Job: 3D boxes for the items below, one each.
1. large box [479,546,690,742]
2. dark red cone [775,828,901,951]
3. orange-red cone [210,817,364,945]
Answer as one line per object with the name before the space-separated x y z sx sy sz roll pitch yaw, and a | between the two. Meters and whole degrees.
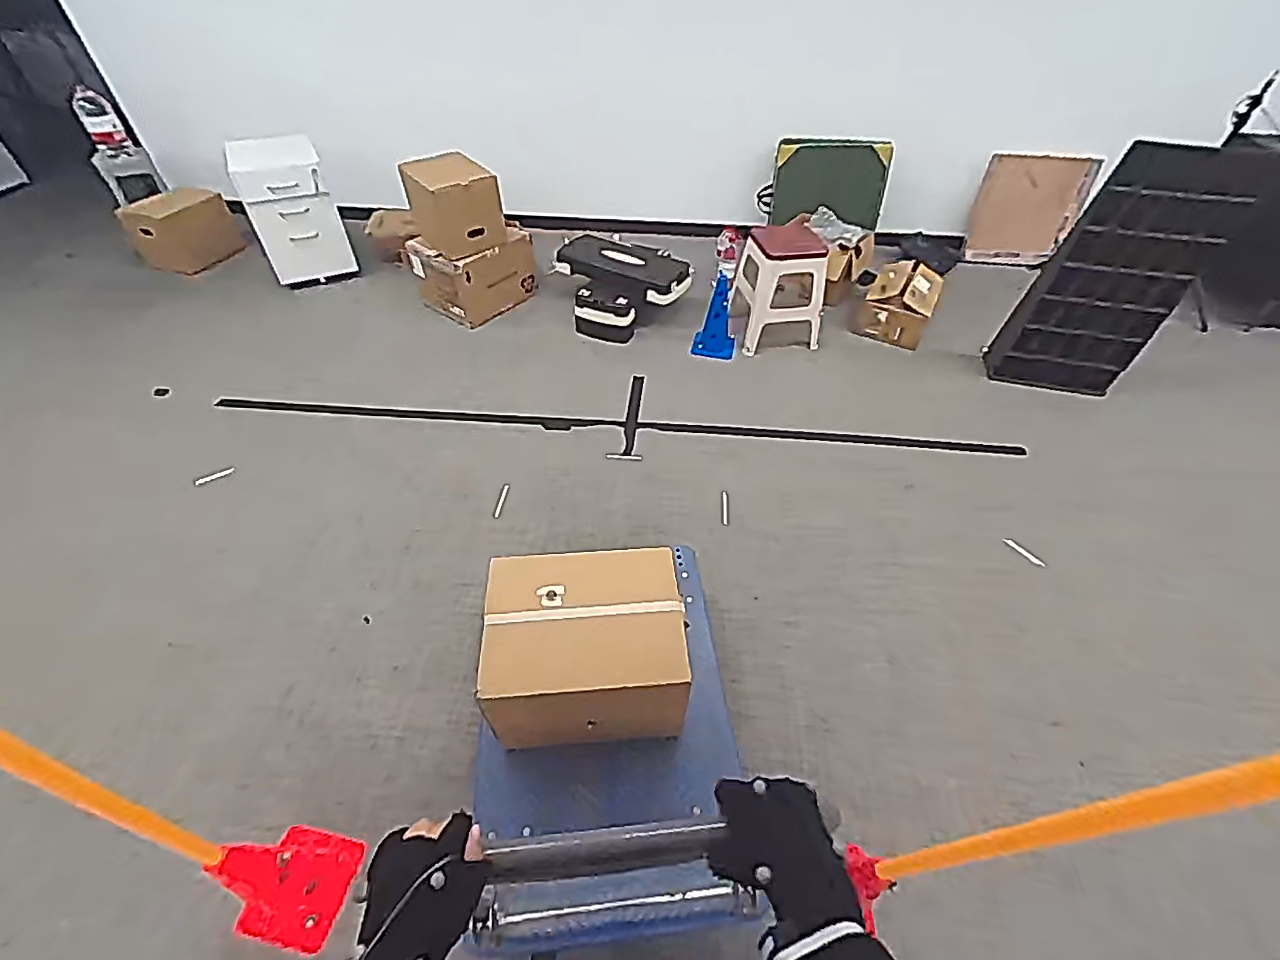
large box | -0.116 0.373 1.224 0.408 0.320 0.320 -3 48 -4
dark red cone | 0.407 0.765 1.048 0.201 0.394 0.202 6 47 1
orange-red cone | -0.727 0.746 1.054 0.198 0.360 0.199 11 46 7
